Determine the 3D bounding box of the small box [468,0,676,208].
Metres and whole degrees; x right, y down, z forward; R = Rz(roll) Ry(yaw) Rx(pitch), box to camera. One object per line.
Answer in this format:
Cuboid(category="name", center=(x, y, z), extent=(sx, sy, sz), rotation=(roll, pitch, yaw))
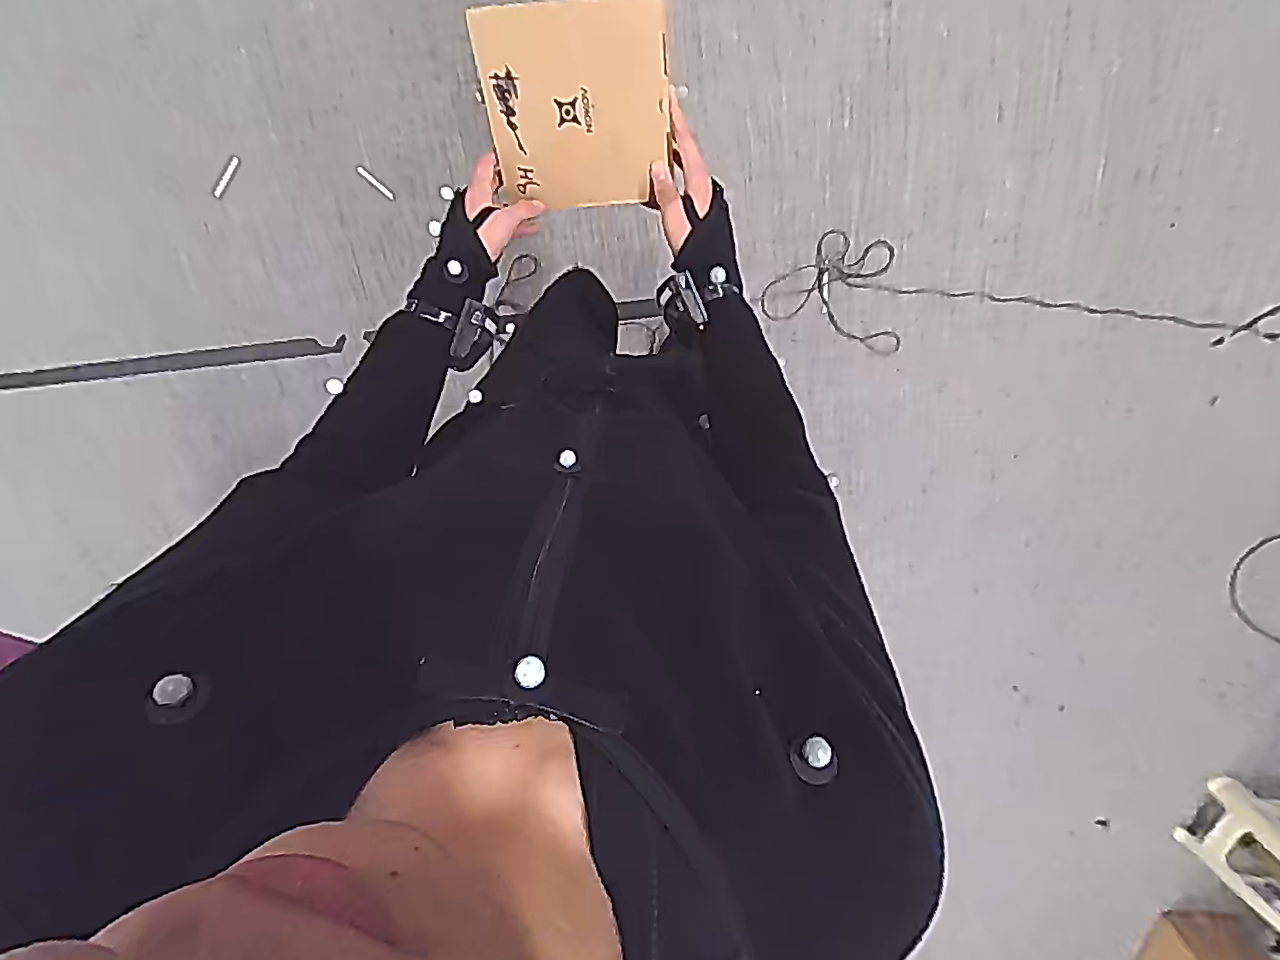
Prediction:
Cuboid(category="small box", center=(-0.053, -0.402, 0.566), extent=(0.179, 0.176, 0.168), rotation=(-1, 131, 6))
